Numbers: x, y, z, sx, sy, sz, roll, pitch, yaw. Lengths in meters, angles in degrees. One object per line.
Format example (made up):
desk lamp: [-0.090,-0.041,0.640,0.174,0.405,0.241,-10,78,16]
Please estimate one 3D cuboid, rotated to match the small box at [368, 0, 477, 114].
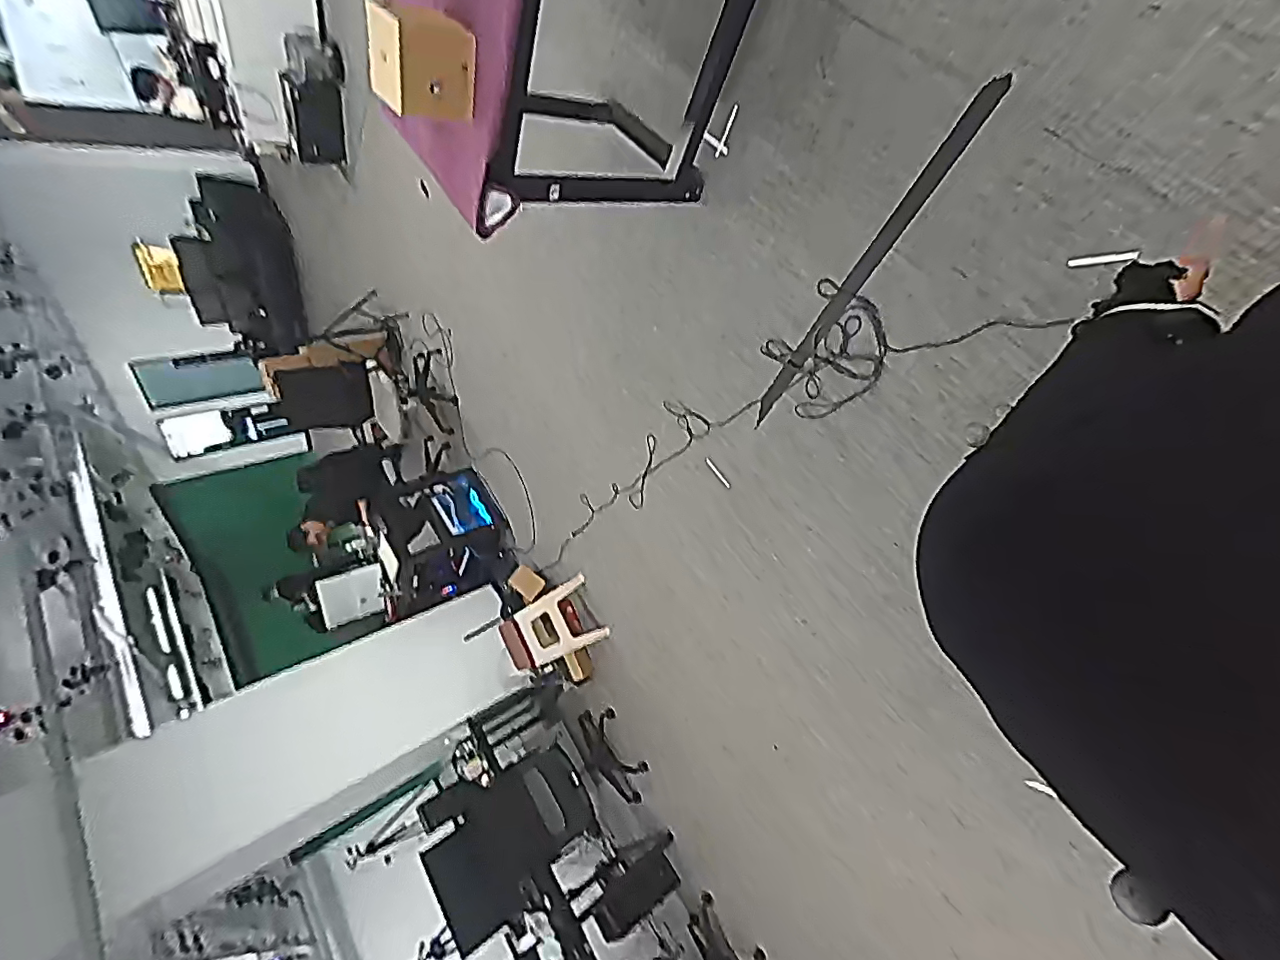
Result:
small box: [-0.469,-0.923,1.181,0.179,0.176,0.168,49,140,27]
